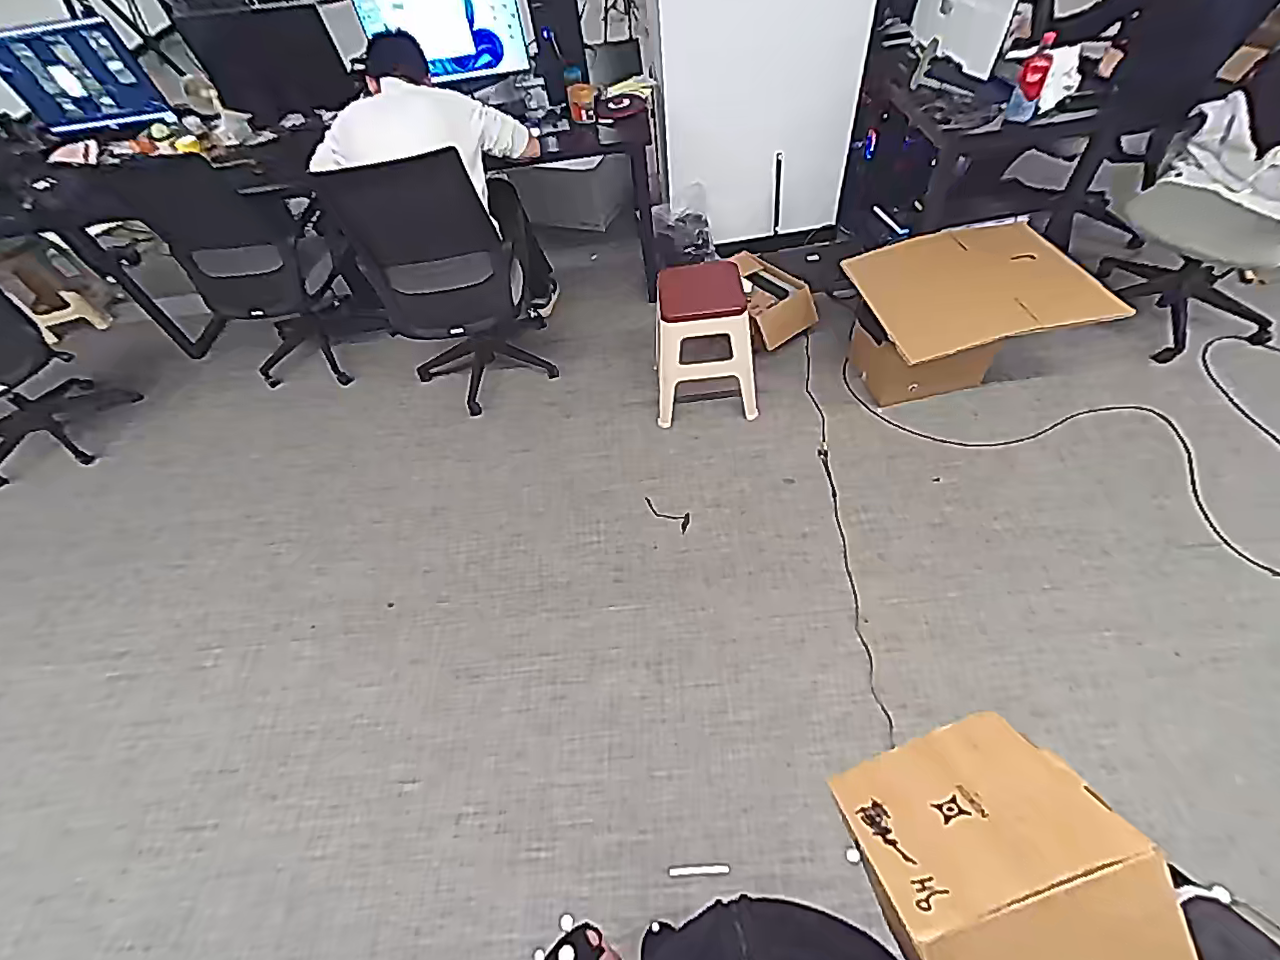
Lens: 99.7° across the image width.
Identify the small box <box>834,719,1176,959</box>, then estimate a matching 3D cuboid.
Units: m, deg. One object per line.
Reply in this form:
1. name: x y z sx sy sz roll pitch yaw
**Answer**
1. small box: 0.302 0.351 0.463 0.179 0.168 0.176 -23 97 2
